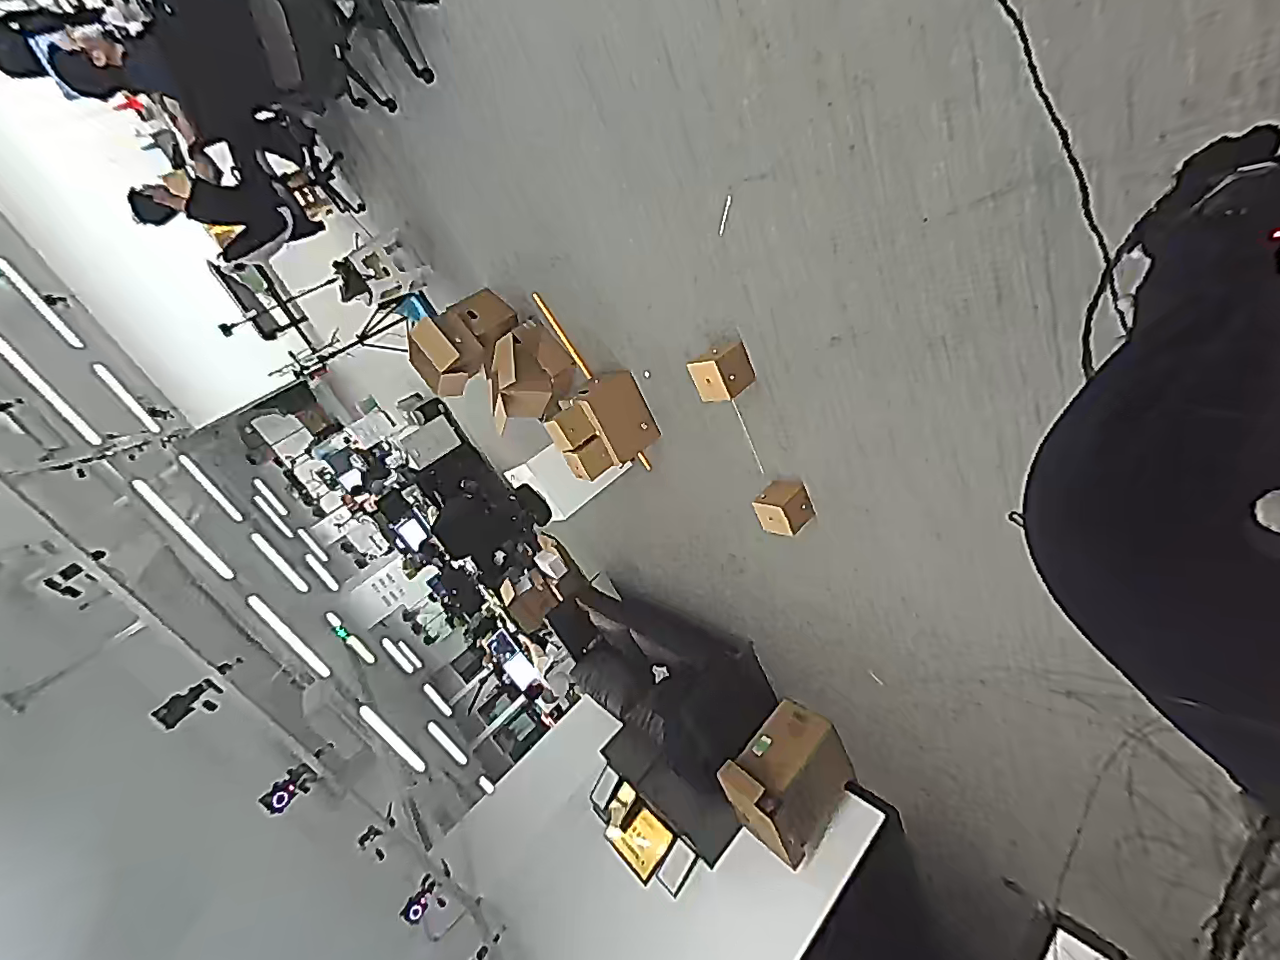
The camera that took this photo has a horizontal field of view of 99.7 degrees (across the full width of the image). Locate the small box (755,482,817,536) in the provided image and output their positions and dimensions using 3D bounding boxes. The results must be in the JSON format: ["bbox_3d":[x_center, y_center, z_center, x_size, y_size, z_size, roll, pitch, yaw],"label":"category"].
[{"bbox_3d":[0.651,0.123,2.408,0.179,0.176,0.168,9,134,55],"label":"small box"}]

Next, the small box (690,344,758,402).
[{"bbox_3d":[0.337,-0.430,2.153,0.168,0.176,0.179,8,133,55],"label":"small box"}]
